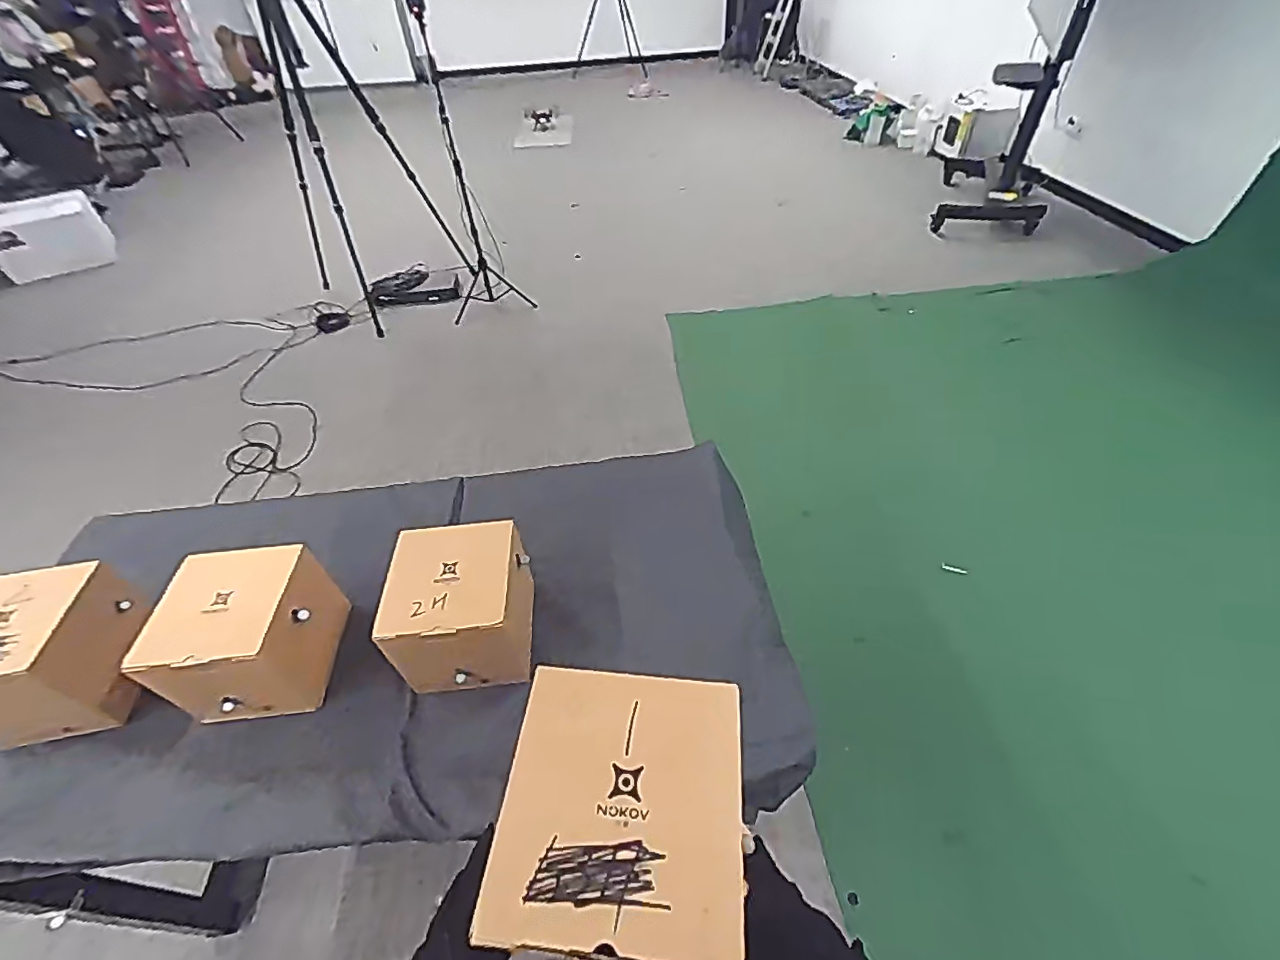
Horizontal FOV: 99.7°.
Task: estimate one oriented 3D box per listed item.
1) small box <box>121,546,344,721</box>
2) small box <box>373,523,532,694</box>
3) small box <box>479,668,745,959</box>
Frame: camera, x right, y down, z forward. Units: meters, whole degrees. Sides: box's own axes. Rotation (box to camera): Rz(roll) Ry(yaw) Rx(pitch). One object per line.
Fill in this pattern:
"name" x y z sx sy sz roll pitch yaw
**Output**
"small box" -0.551 0.218 0.768 0.168 0.176 0.179 -5 46 -3
"small box" -0.255 0.185 0.785 0.168 0.176 0.179 -5 46 -2
"small box" -0.007 0.277 0.434 0.168 0.176 0.179 4 46 5
